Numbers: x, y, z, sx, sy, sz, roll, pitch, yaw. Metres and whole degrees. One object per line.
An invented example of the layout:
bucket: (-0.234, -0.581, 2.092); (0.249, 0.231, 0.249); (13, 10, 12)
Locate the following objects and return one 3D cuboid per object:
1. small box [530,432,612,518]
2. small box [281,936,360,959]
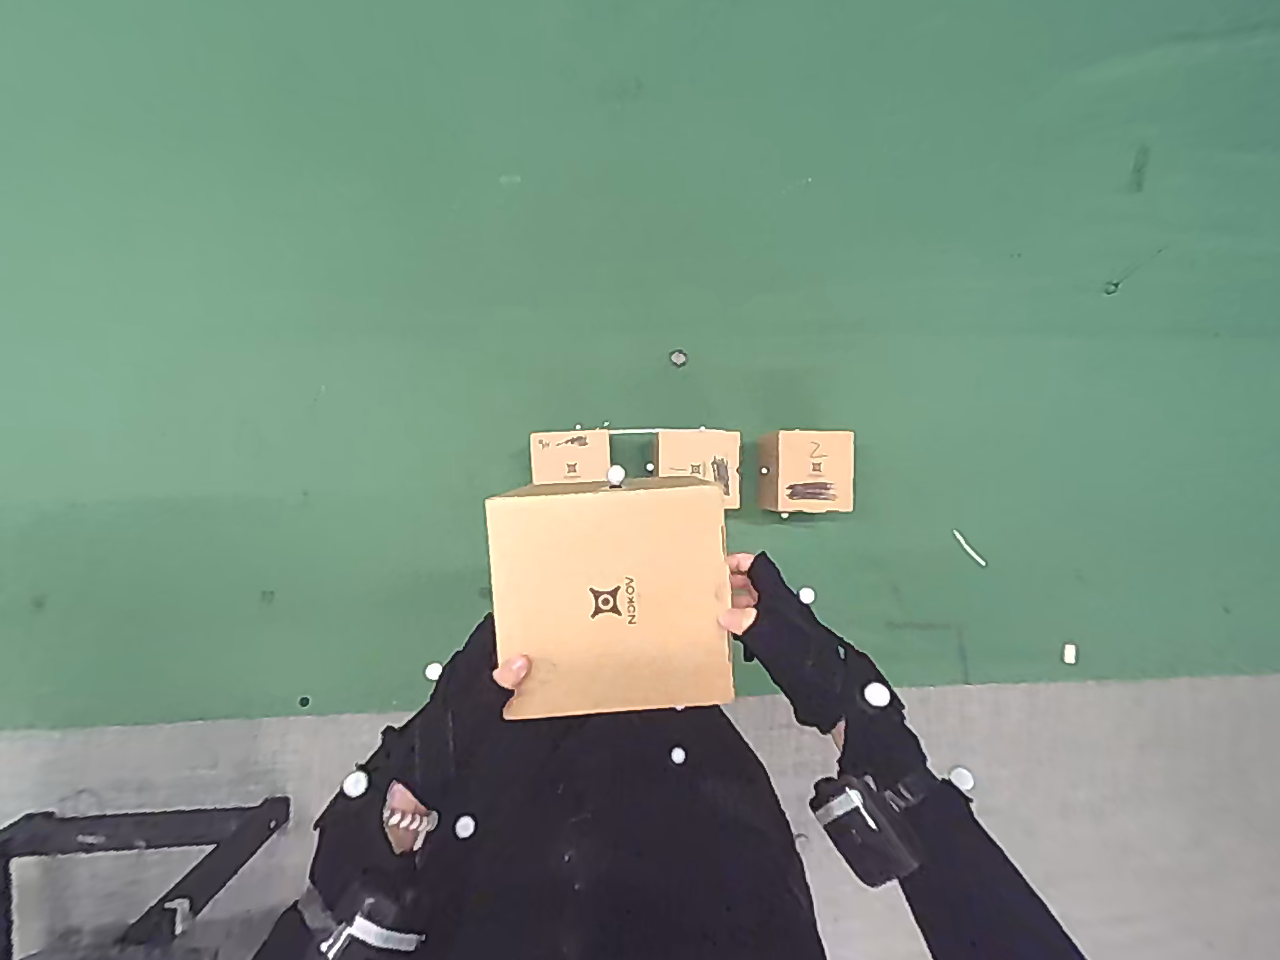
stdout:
small box: (-0.147, -0.015, 1.198); (0.168, 0.176, 0.179); (-2, 92, -3)
small box: (-0.733, 1.160, 1.182); (0.179, 0.176, 0.168); (-13, 92, -2)
